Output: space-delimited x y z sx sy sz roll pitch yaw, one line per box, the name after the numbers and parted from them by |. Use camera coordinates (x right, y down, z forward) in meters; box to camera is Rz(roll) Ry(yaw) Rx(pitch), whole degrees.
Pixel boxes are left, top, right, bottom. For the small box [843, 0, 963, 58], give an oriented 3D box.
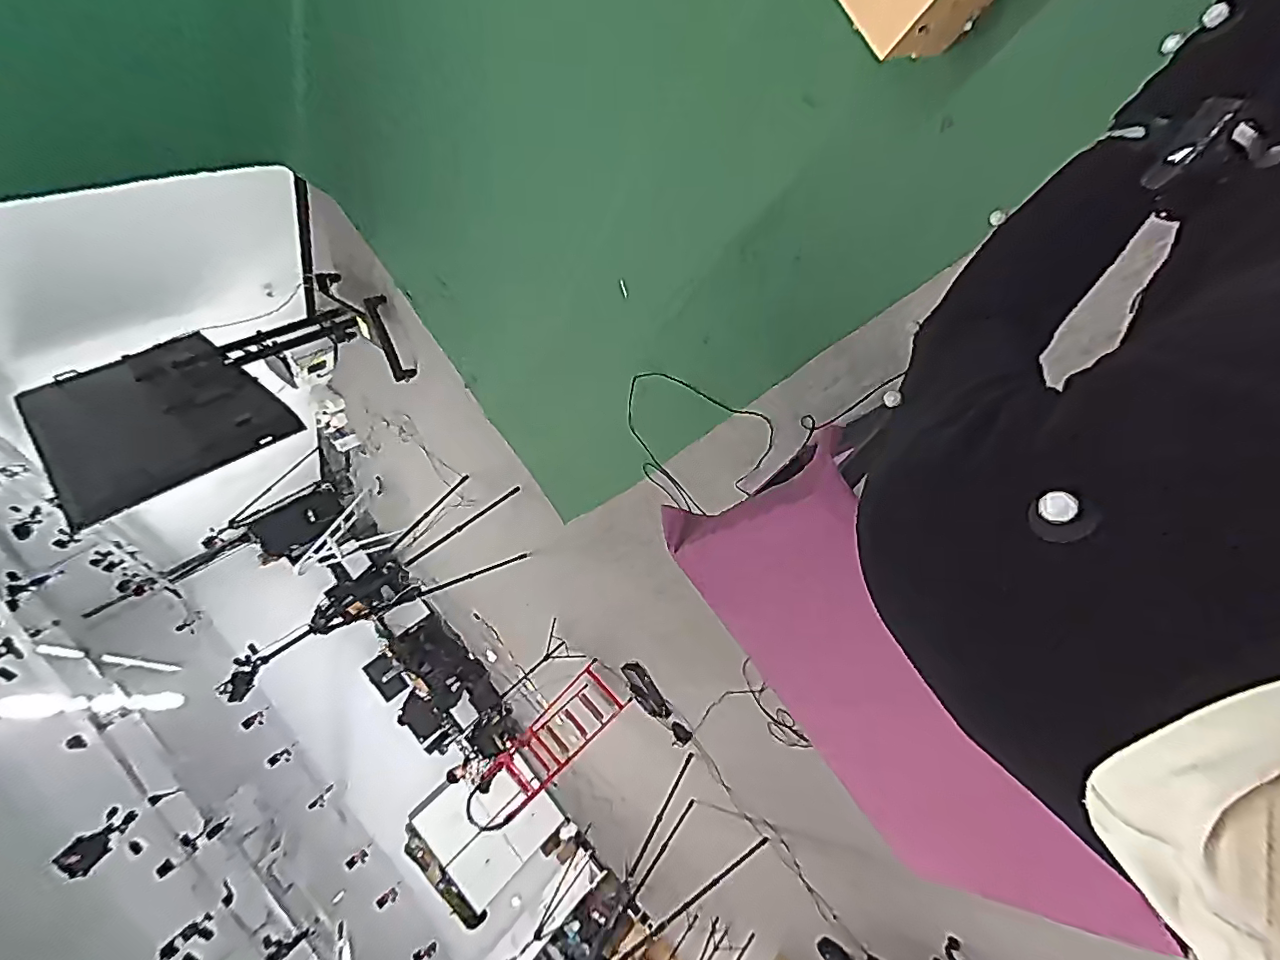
0.508 -0.939 1.006 0.179 0.176 0.168 55 147 0 | small box

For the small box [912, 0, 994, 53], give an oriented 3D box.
0.615 -1.017 1.098 0.179 0.176 0.168 54 147 -1 | small box
